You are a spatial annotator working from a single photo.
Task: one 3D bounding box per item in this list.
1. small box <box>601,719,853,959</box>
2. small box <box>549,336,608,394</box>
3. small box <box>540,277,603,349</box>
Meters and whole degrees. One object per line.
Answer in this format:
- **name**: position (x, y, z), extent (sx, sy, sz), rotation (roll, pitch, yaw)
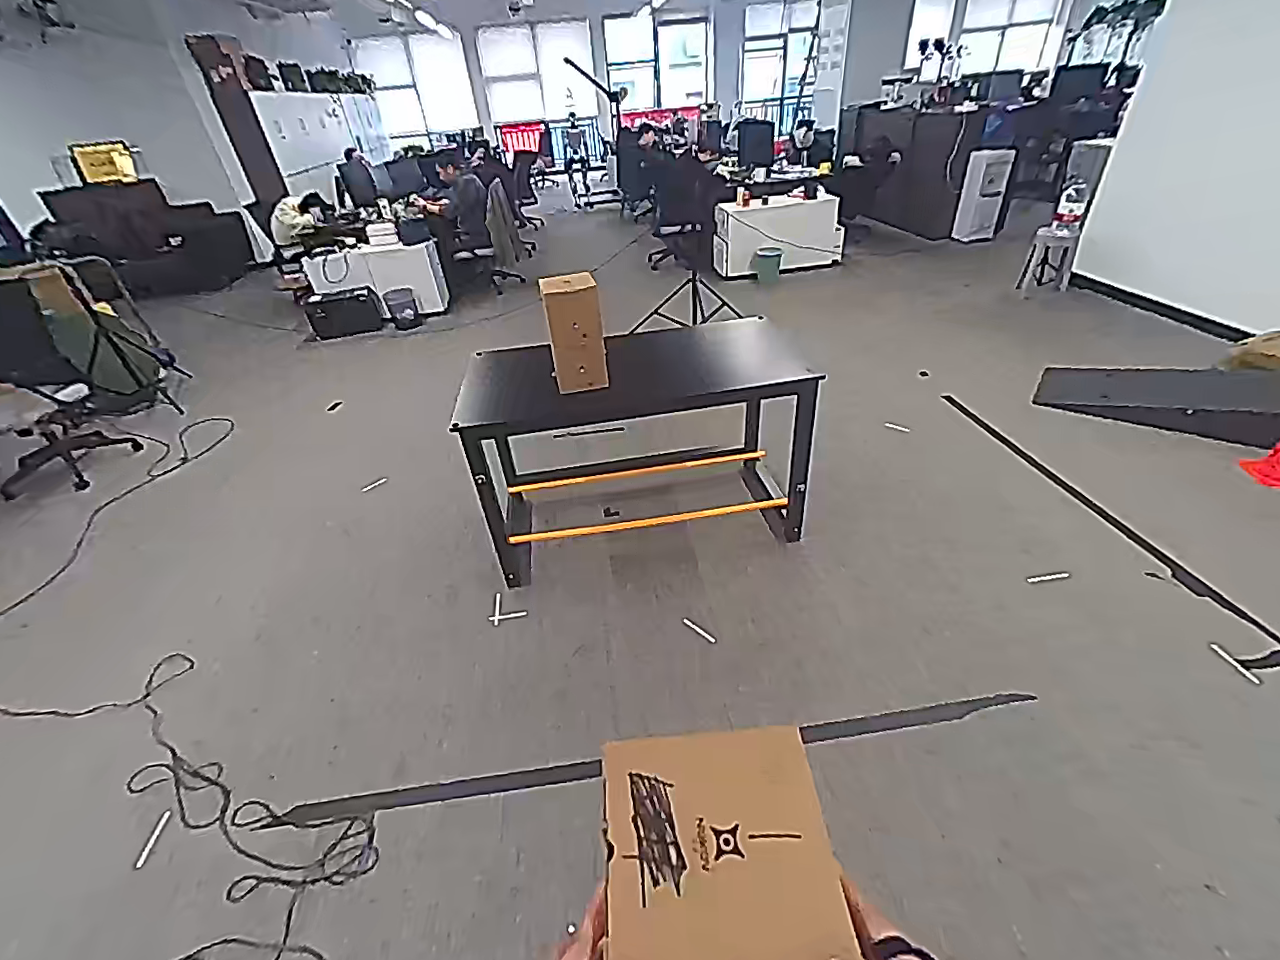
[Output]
- **small box**: position (0.061, 0.336, 0.479), extent (0.179, 0.176, 0.168), rotation (-5, 43, -1)
- **small box**: position (-0.207, -0.402, 1.838), extent (0.168, 0.176, 0.179), rotation (-11, 36, -7)
- **small box**: position (-0.222, -0.539, 1.745), extent (0.168, 0.176, 0.179), rotation (-12, 36, -8)
